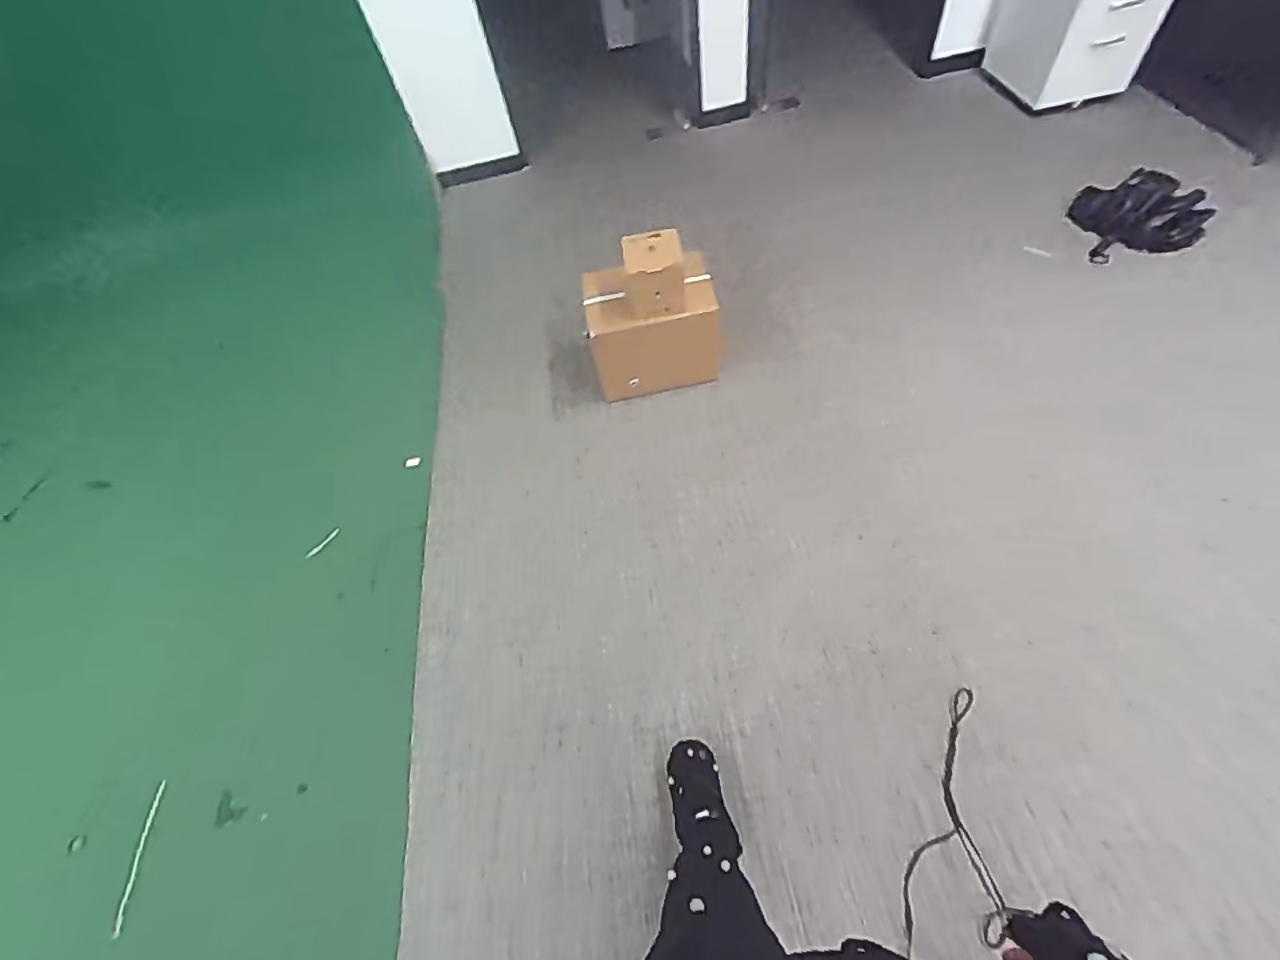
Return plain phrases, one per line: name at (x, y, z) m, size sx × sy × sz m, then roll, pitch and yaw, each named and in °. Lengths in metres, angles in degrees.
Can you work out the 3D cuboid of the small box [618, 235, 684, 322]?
small box at (0.036, -0.593, 1.615) m, size 0.168 × 0.176 × 0.179 m, roll -10°, pitch 57°, yaw 4°
